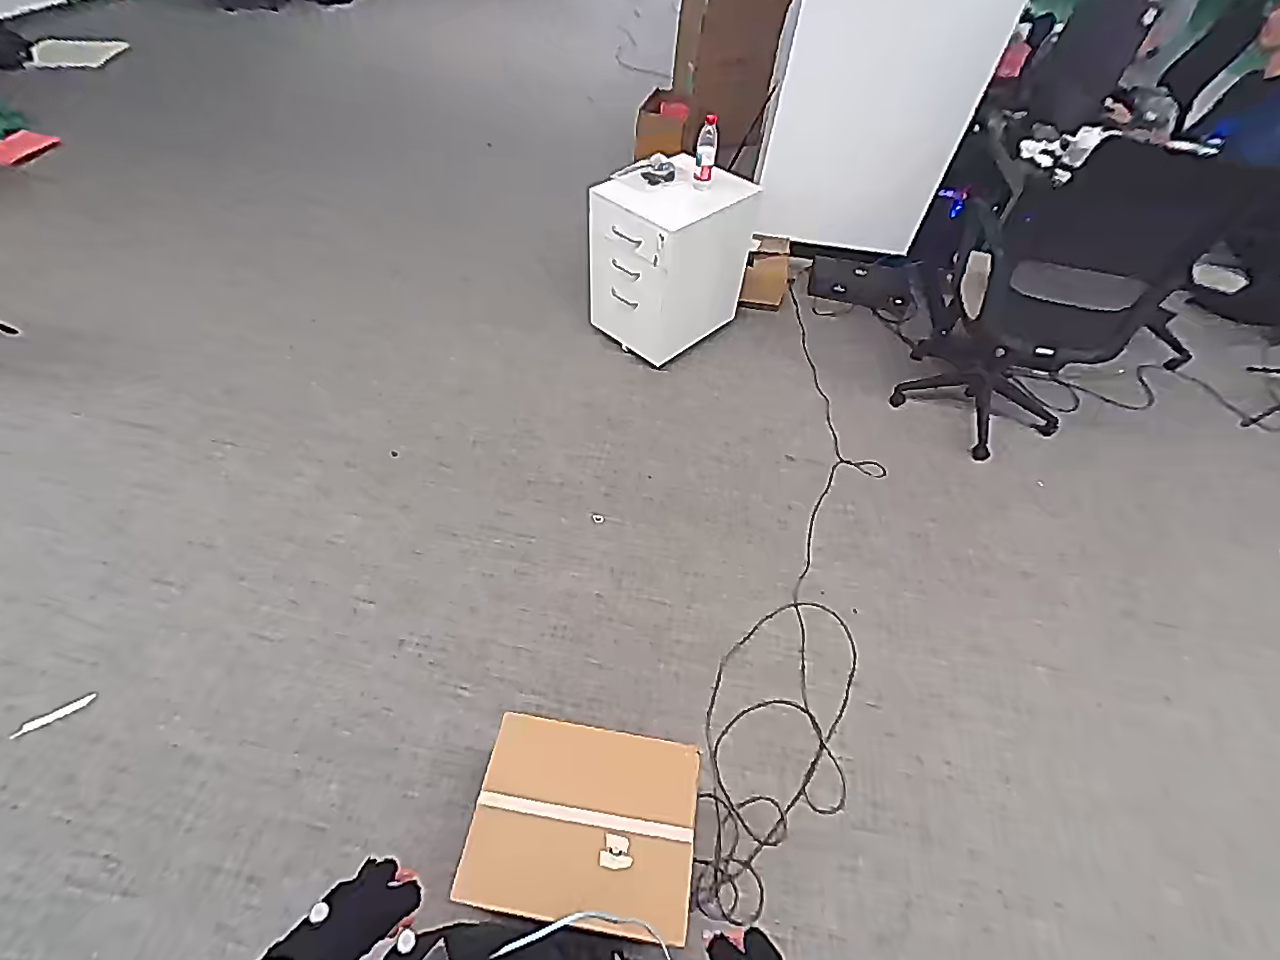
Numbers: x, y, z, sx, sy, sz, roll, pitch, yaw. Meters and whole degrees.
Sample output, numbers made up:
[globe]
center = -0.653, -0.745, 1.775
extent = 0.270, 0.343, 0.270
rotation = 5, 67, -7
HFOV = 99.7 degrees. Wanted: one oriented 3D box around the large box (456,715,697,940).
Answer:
[large box]
center = -0.113, 0.721, 1.120
extent = 0.408, 0.320, 0.320
rotation = 10, 51, 2
